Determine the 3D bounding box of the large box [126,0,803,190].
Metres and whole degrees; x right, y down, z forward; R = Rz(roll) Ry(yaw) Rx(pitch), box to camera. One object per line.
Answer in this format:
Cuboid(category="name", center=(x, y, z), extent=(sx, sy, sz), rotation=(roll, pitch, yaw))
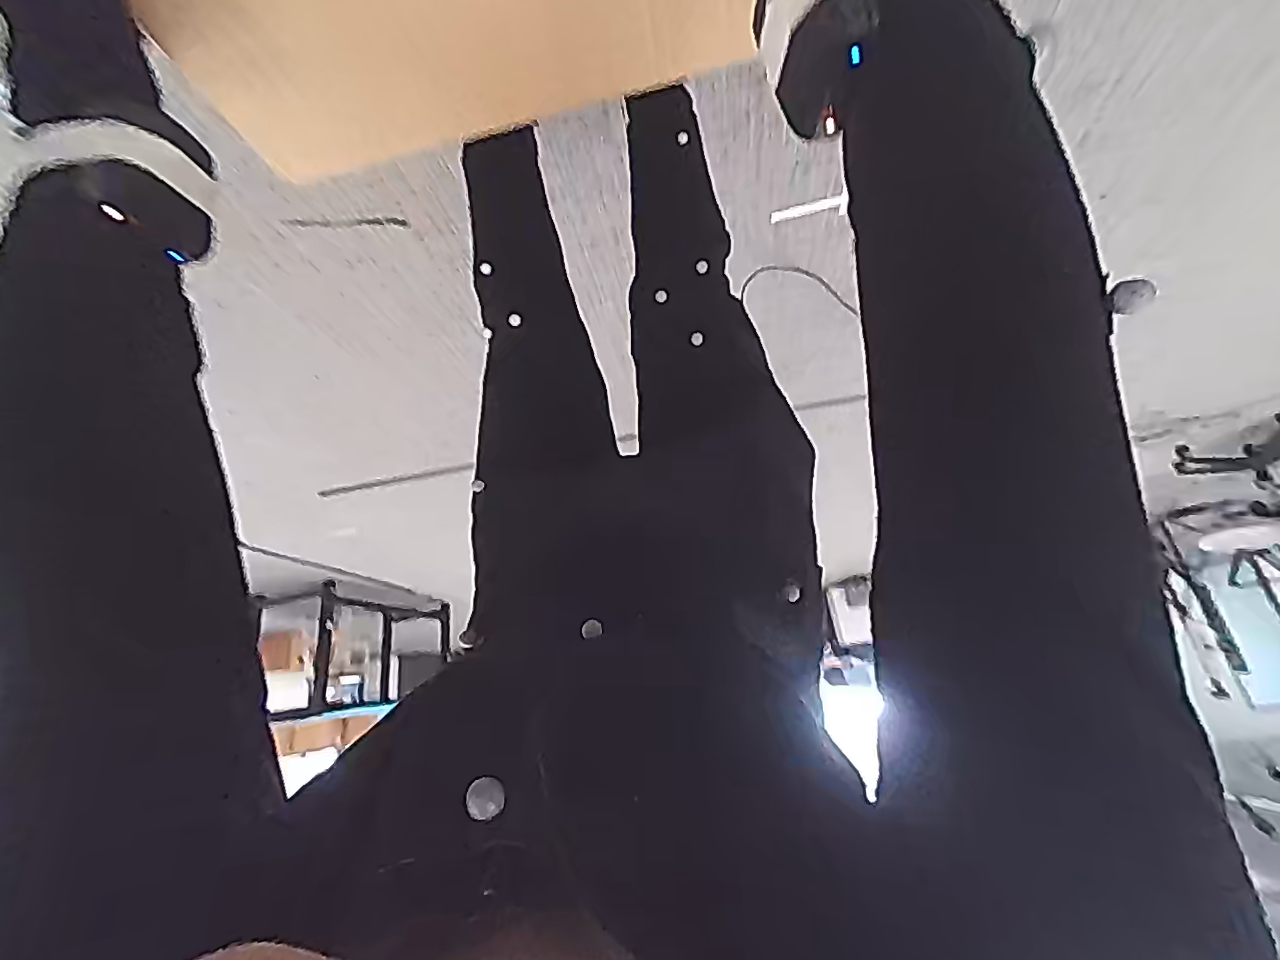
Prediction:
Cuboid(category="large box", center=(-0.129, -0.459, 0.327), extent=(0.408, 0.320, 0.320), rotation=(-11, 160, 7))
